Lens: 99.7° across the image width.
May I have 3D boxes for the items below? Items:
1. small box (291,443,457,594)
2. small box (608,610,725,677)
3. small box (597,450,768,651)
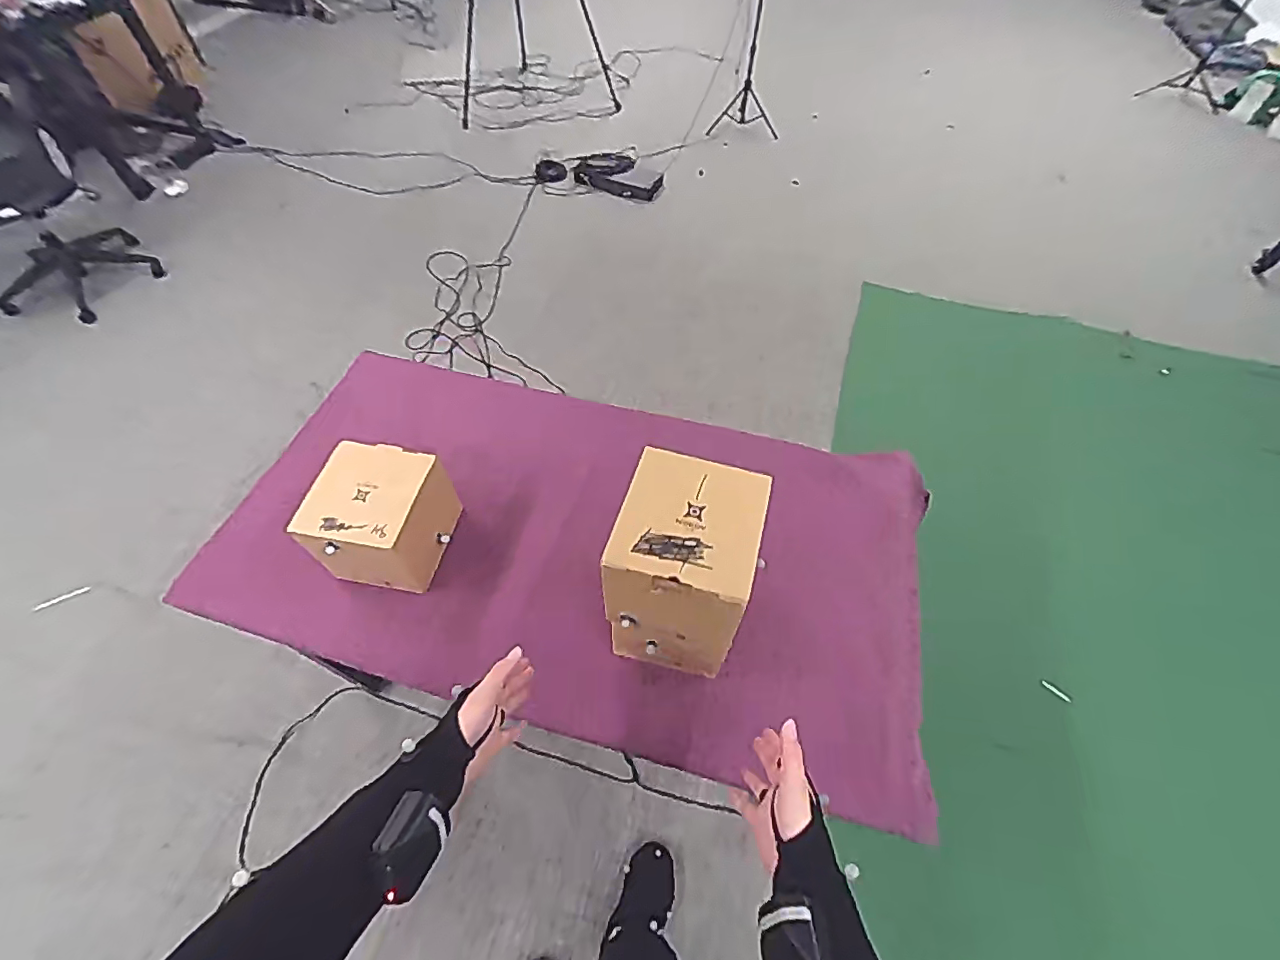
[{"bbox_3d":[-0.423,0.066,0.901,0.168,0.176,0.179,9,56,5],"label":"small box"},{"bbox_3d":[0.056,0.183,0.831,0.168,0.176,0.179,12,55,8],"label":"small box"},{"bbox_3d":[0.055,0.095,0.691,0.168,0.176,0.179,15,55,9],"label":"small box"}]
